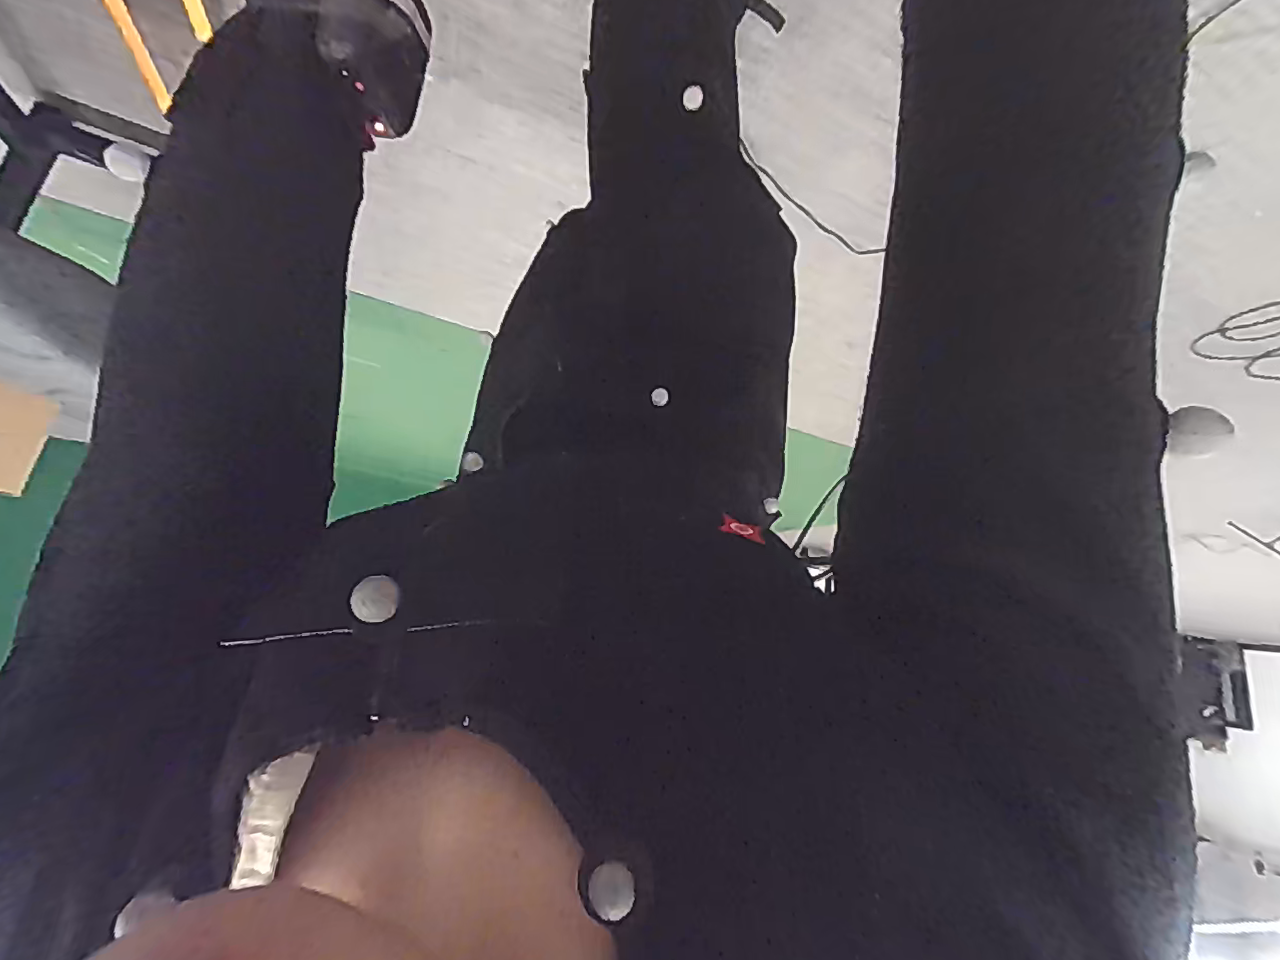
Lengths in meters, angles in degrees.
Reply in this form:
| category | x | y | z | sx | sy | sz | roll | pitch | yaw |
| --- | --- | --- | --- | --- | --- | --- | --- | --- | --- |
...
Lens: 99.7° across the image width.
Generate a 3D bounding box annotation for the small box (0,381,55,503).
| category | x | y | z | sx | sy | sz | roll | pitch | yaw |
| --- | --- | --- | --- | --- | --- | --- | --- | --- | --- |
| small box | -1.033 | -0.076 | 0.787 | 0.168 | 0.176 | 0.179 | 16 | 164 | -20 |
